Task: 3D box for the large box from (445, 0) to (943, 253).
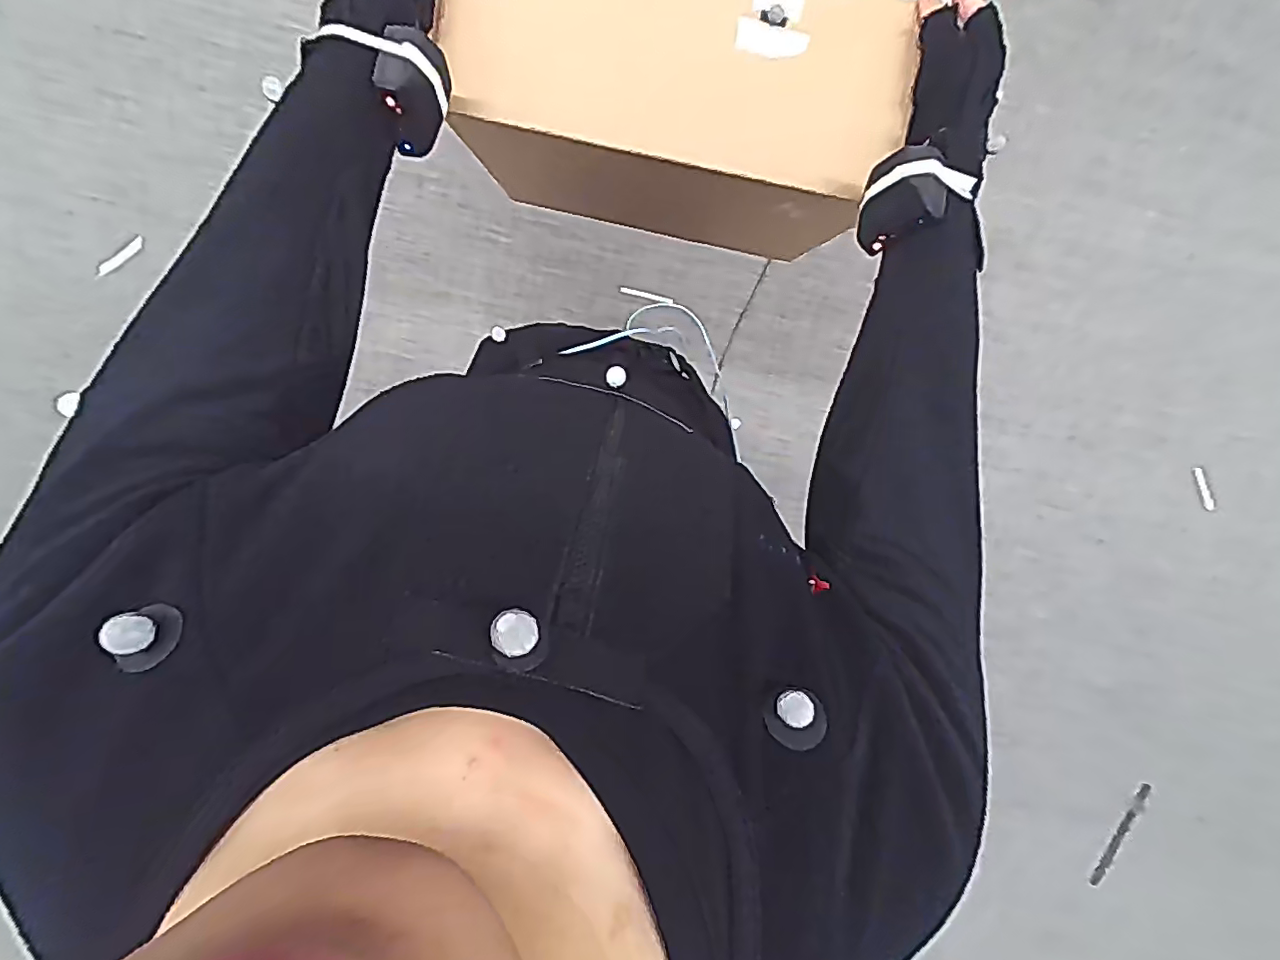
[{"bbox_3d":[0.052,-0.465,0.578,0.408,0.320,0.320,11,105,-4],"label":"large box"}]
